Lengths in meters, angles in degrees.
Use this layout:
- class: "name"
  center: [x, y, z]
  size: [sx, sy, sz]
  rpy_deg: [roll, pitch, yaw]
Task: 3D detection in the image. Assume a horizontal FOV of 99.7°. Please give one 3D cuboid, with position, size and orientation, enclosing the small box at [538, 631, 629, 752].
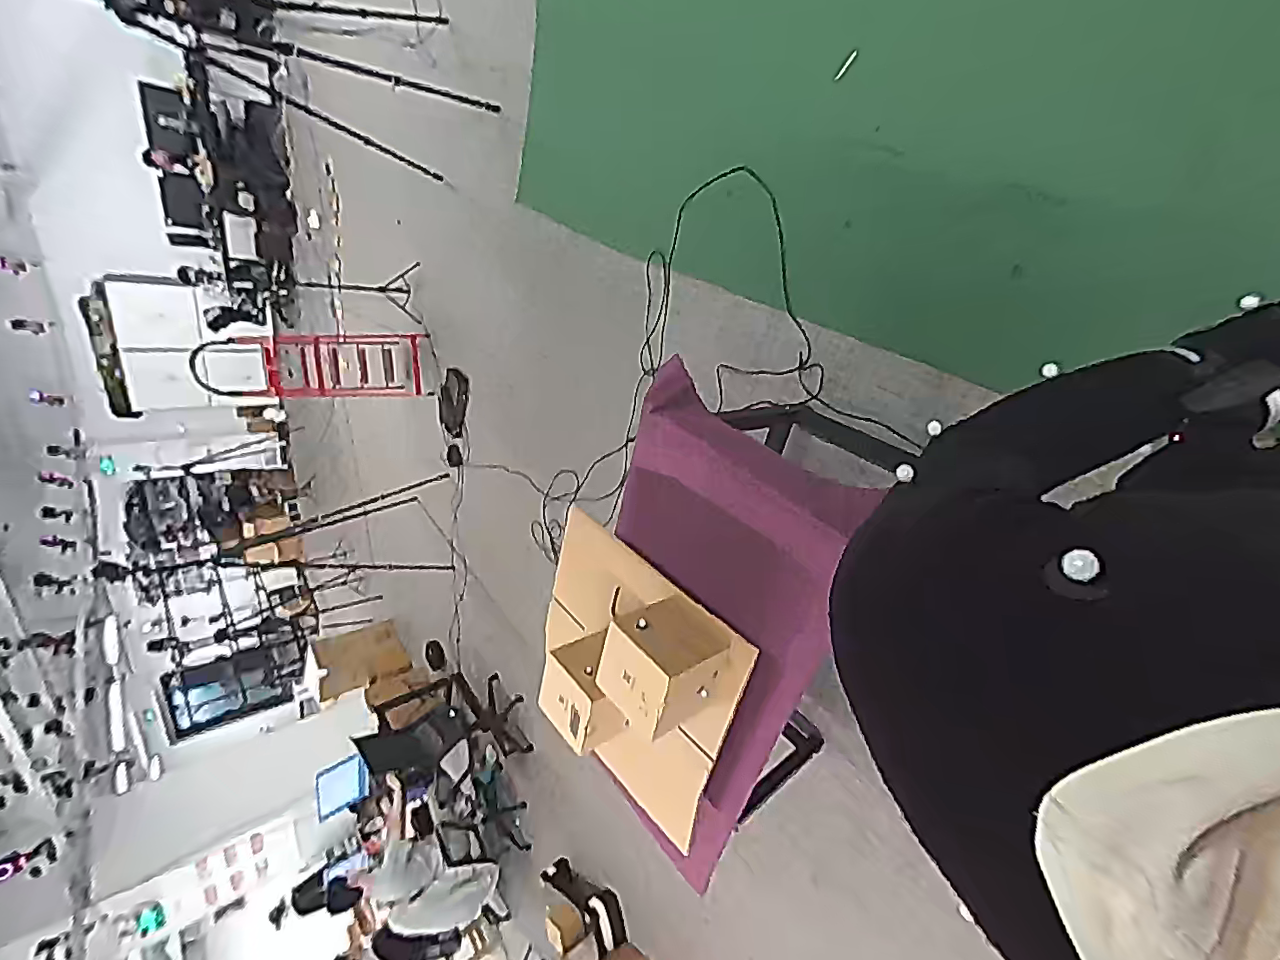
- class: "small box"
  center: [-0.112, 0.480, 1.257]
  size: [0.179, 0.176, 0.168]
  rpy_deg: [34, 120, 39]

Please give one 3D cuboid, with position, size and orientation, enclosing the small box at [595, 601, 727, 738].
- class: "small box"
  center: [0.040, 0.361, 1.074]
  size: [0.179, 0.176, 0.168]
  rpy_deg: [34, 121, 38]
